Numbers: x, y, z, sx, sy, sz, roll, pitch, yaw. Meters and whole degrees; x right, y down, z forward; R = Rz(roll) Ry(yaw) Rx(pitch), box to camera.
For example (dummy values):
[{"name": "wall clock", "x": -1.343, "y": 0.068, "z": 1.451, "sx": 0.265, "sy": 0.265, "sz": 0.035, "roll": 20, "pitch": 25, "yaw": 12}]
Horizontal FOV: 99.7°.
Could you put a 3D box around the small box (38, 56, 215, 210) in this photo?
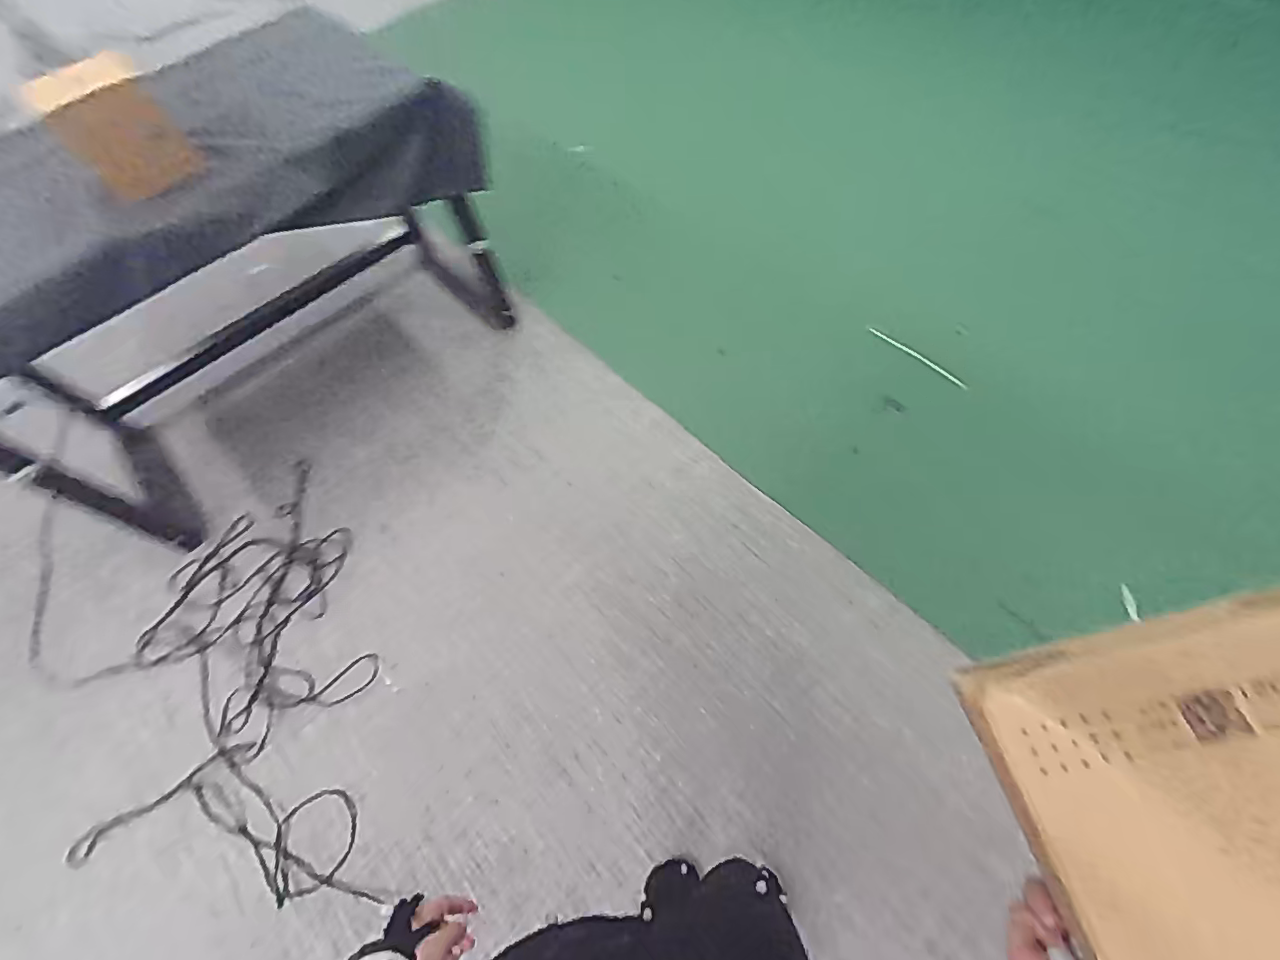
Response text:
[{"name": "small box", "x": -0.967, "y": -0.662, "z": 1.037, "sx": 0.179, "sy": 0.176, "sz": 0.168, "roll": -41, "pitch": 63, "yaw": -15}]
